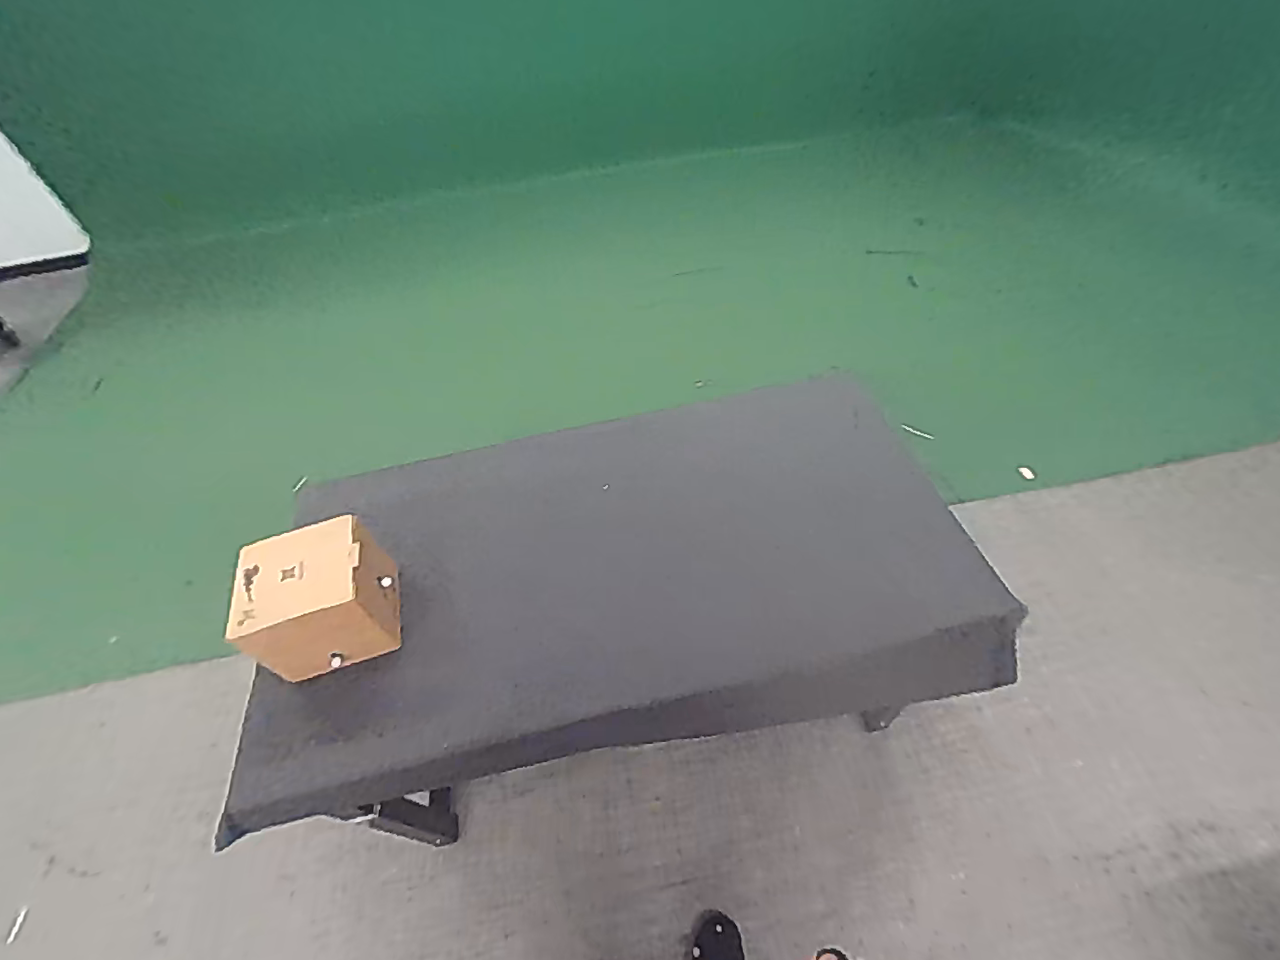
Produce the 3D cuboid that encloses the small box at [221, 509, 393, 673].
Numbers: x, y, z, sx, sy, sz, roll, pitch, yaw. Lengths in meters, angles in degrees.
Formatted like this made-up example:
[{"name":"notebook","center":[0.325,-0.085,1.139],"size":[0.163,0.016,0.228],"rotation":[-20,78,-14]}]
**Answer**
[{"name":"small box","center":[-0.504,0.177,0.850],"size":[0.179,0.176,0.168],"rotation":[-16,52,-10]}]
